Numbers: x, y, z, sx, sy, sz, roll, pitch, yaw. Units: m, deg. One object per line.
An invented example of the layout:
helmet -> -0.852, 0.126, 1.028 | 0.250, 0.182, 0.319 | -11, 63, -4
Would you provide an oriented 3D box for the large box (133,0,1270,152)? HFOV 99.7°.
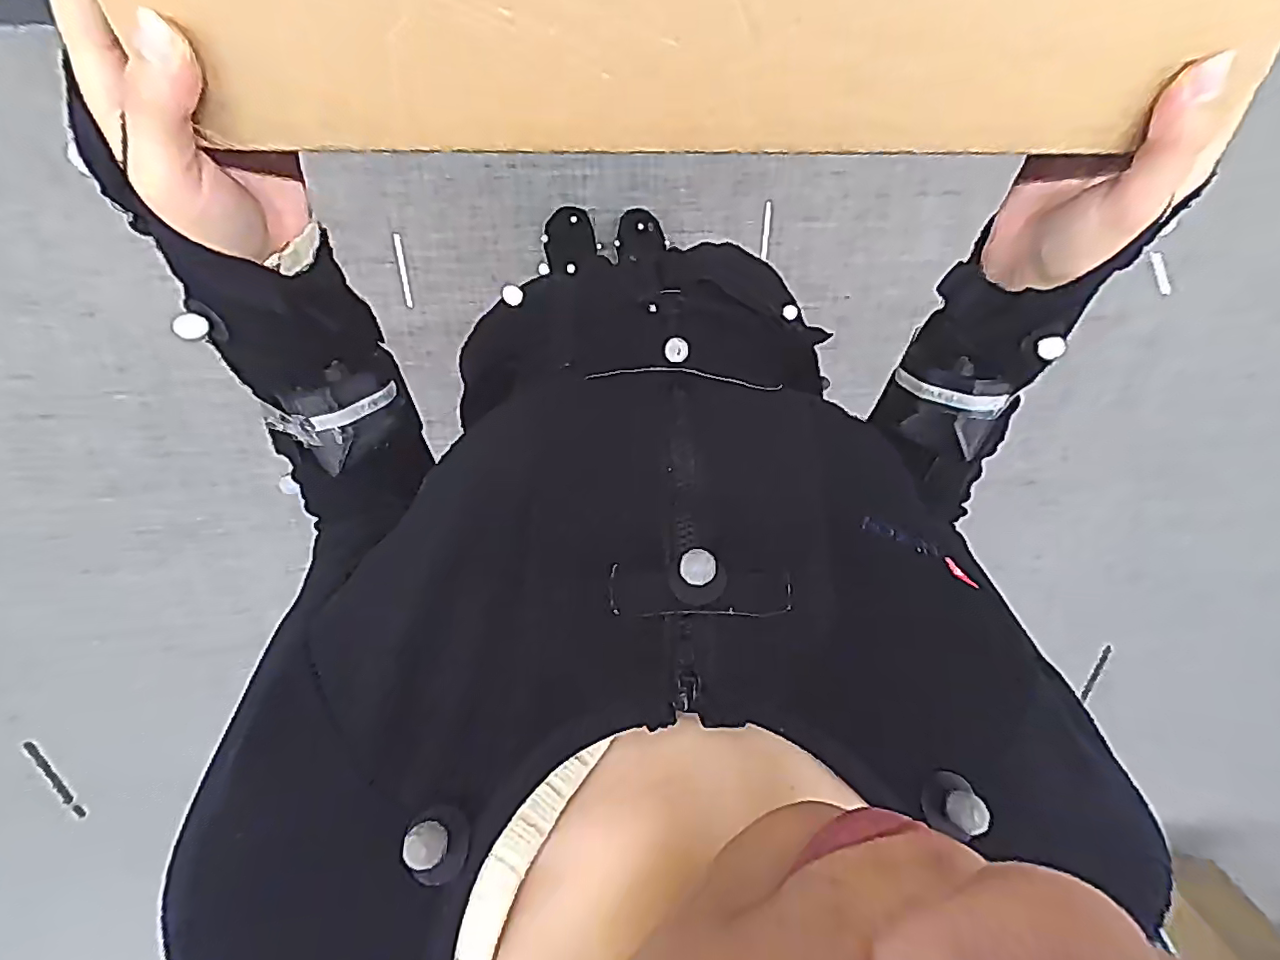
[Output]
large box -> 0.021, -0.351, 0.201 | 0.408, 0.320, 0.320 | -3, 140, -3
